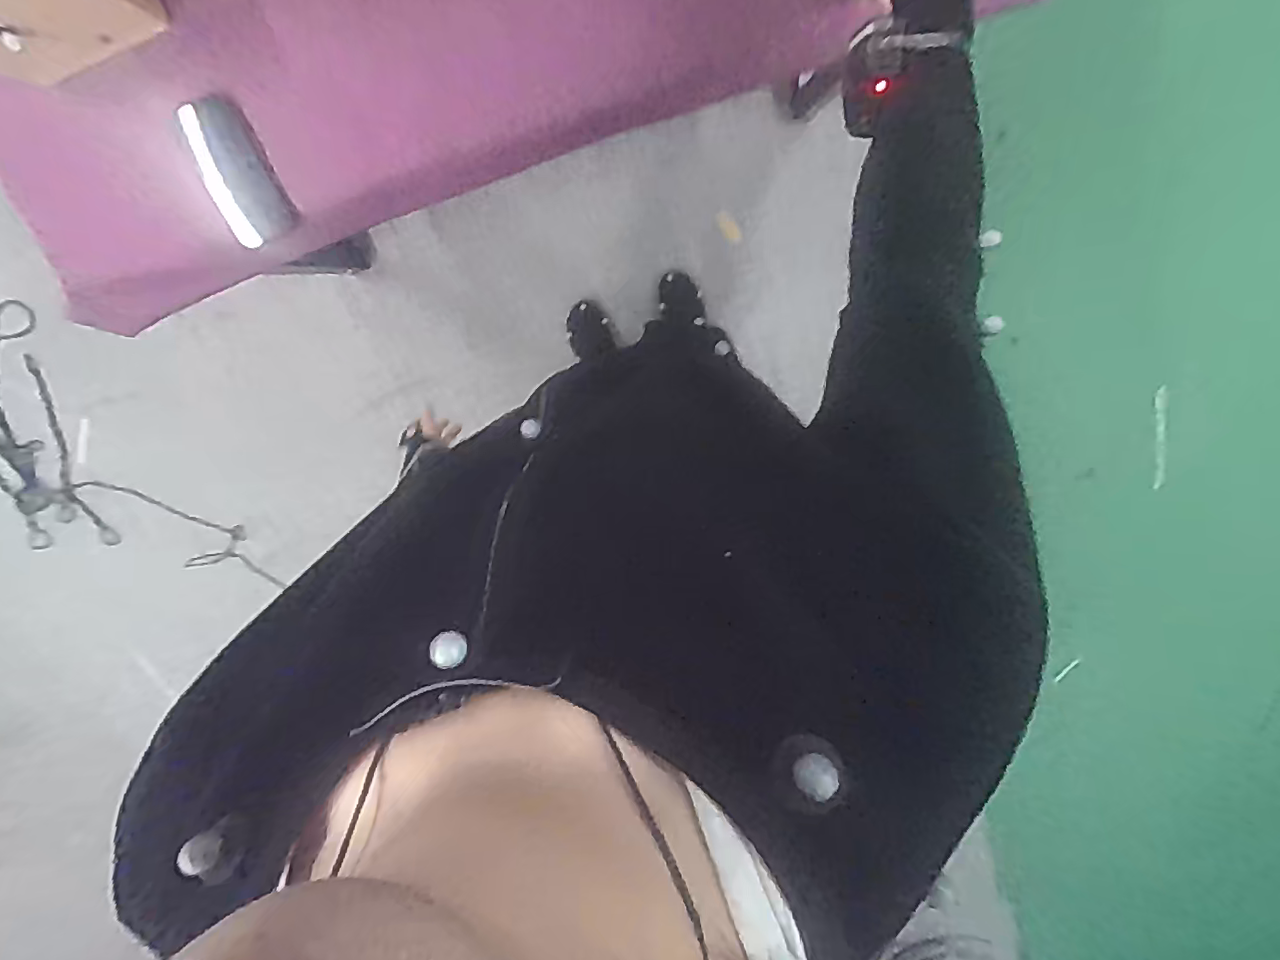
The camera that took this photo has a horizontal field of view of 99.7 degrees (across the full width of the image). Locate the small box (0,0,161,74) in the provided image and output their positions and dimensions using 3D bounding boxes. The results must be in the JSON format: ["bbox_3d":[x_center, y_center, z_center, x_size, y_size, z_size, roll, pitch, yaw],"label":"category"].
[{"bbox_3d":[-0.609,-0.509,0.490,0.168,0.176,0.179,-19,109,6],"label":"small box"}]
